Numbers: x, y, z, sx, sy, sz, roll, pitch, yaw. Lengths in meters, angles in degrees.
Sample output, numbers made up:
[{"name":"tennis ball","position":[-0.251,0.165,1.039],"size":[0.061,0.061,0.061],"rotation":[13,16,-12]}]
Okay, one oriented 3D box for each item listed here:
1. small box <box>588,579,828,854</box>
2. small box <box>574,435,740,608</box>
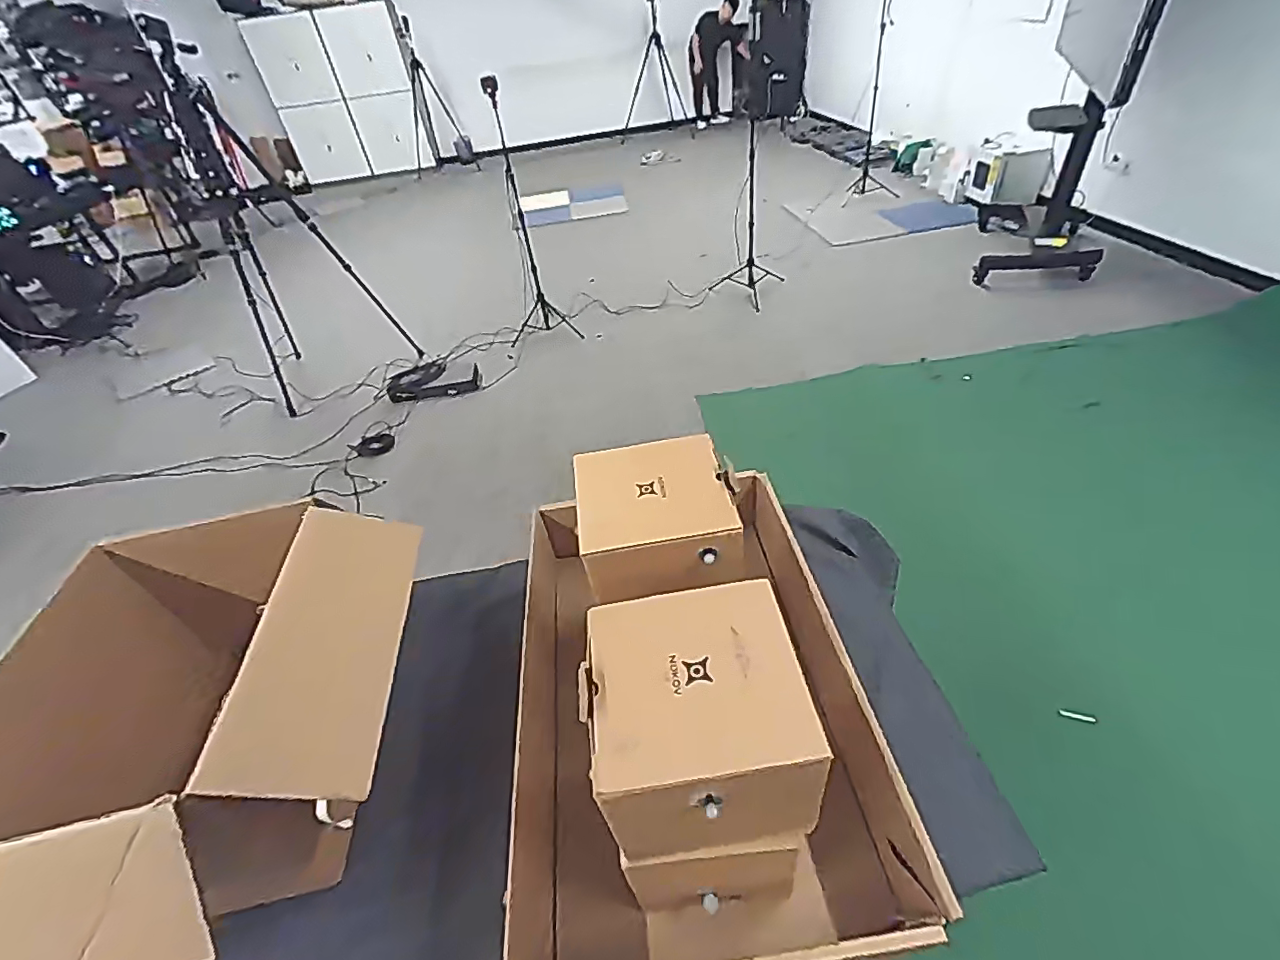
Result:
[{"name":"small box","position":[0.055,0.220,0.501],"size":[0.179,0.176,0.168],"rotation":[-10,42,0]},{"name":"small box","position":[0.022,0.070,0.677],"size":[0.179,0.176,0.168],"rotation":[-10,43,-1]}]
